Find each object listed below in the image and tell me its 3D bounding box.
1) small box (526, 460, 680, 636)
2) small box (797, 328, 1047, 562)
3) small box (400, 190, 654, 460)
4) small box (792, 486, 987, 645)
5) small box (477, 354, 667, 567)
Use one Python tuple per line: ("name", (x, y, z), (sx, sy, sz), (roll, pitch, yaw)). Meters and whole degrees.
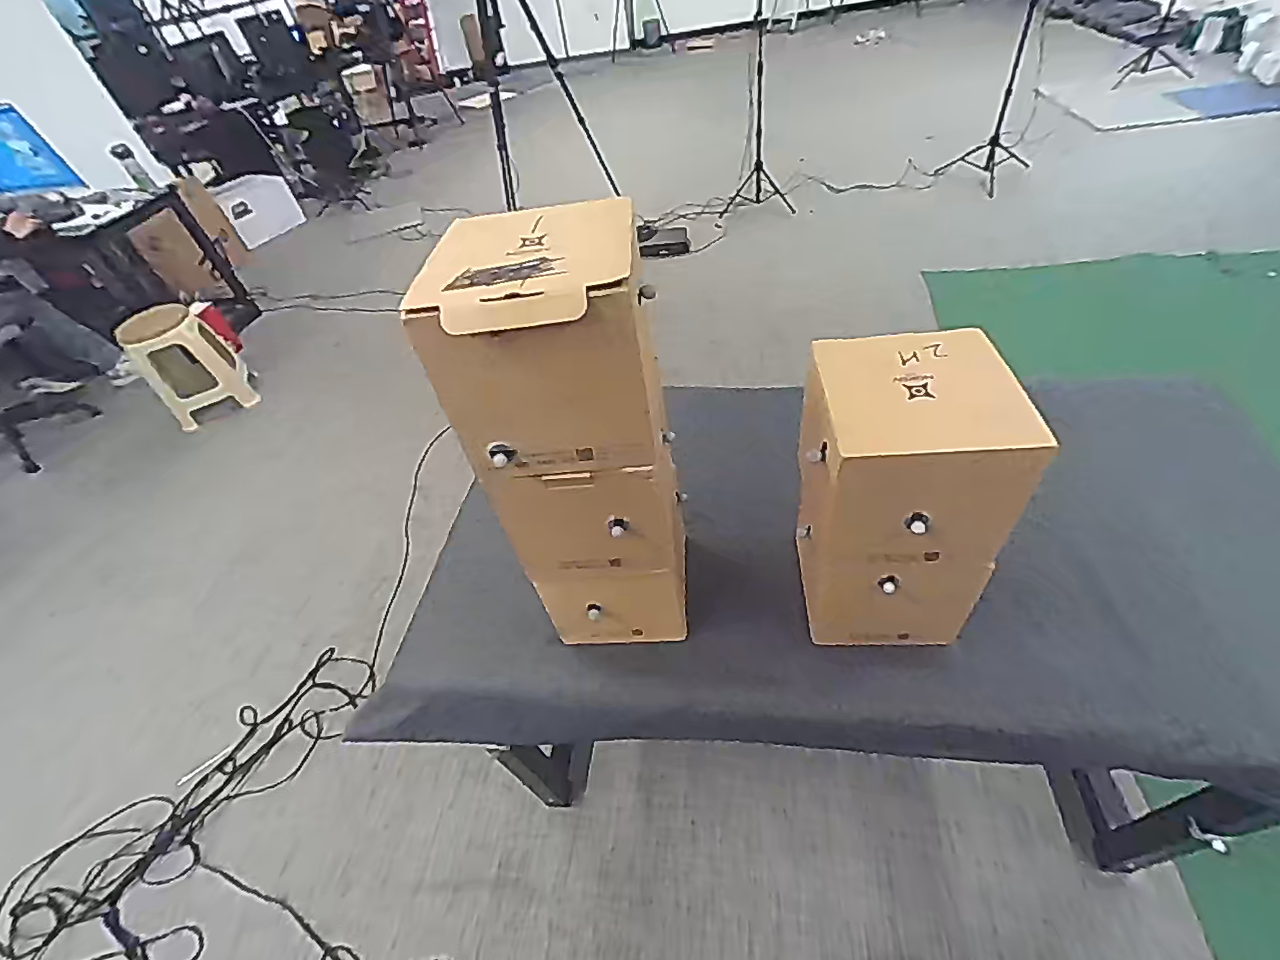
("small box", (-0.035, 0.094, 0.715), (0.168, 0.176, 0.179), (-3, 46, 7))
("small box", (0.258, -0.030, 0.549), (0.168, 0.176, 0.179), (-2, 47, 7))
("small box", (-0.077, -0.130, 0.480), (0.168, 0.176, 0.179), (-4, 45, 4))
("small box", (0.285, 0.082, 0.669), (0.168, 0.176, 0.179), (-2, 46, 8))
("small box", (-0.058, -0.016, 0.597), (0.168, 0.176, 0.179), (-3, 45, 5))
